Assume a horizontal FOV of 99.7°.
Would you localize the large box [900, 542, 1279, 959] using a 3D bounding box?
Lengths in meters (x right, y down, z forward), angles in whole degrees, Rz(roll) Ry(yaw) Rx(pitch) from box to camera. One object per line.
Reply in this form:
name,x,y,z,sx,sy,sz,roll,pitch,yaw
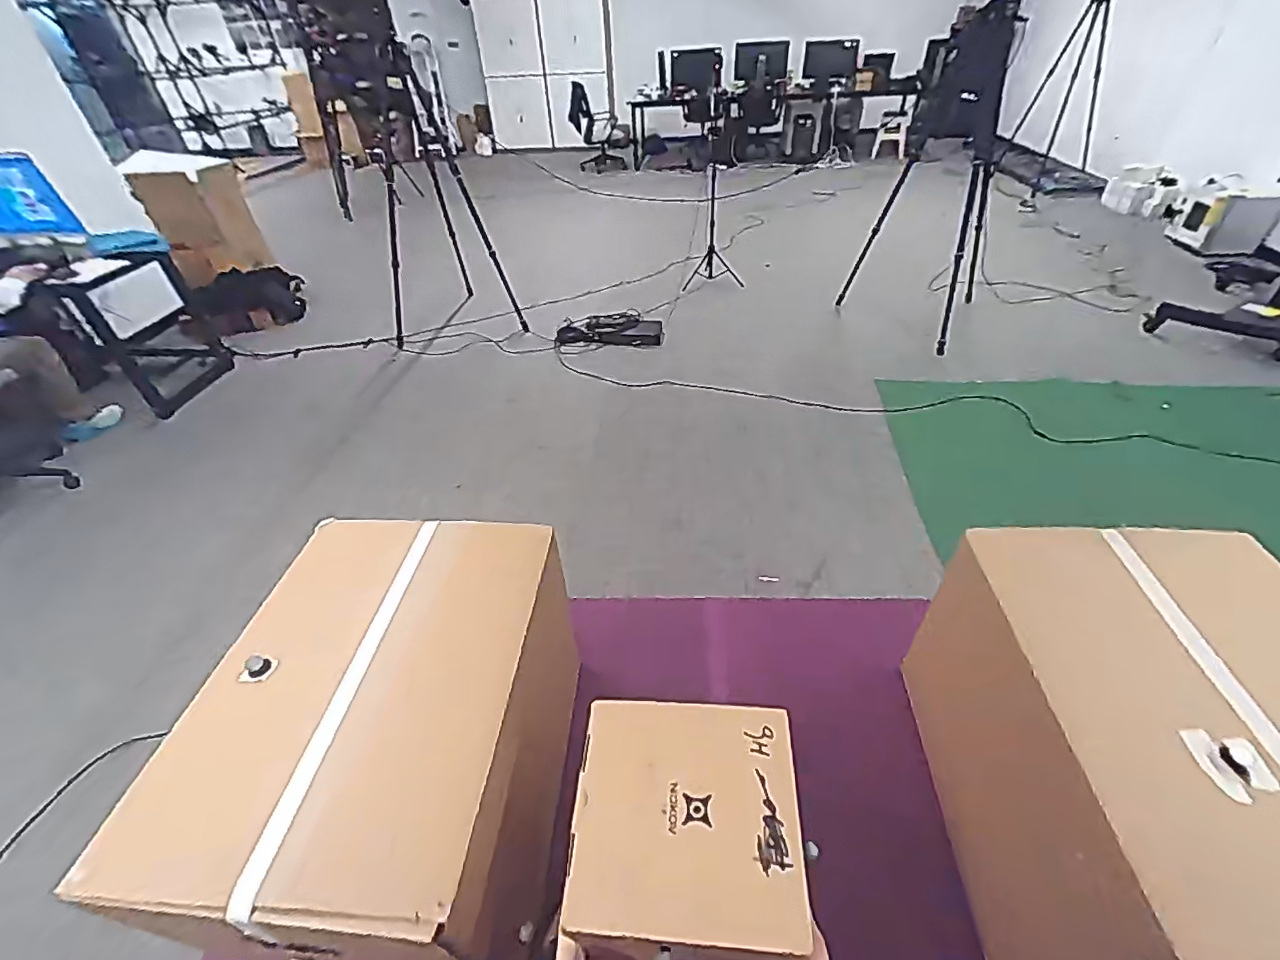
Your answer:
large box,0.533,0.321,0.588,0.320,0.320,0.408,2,41,6
